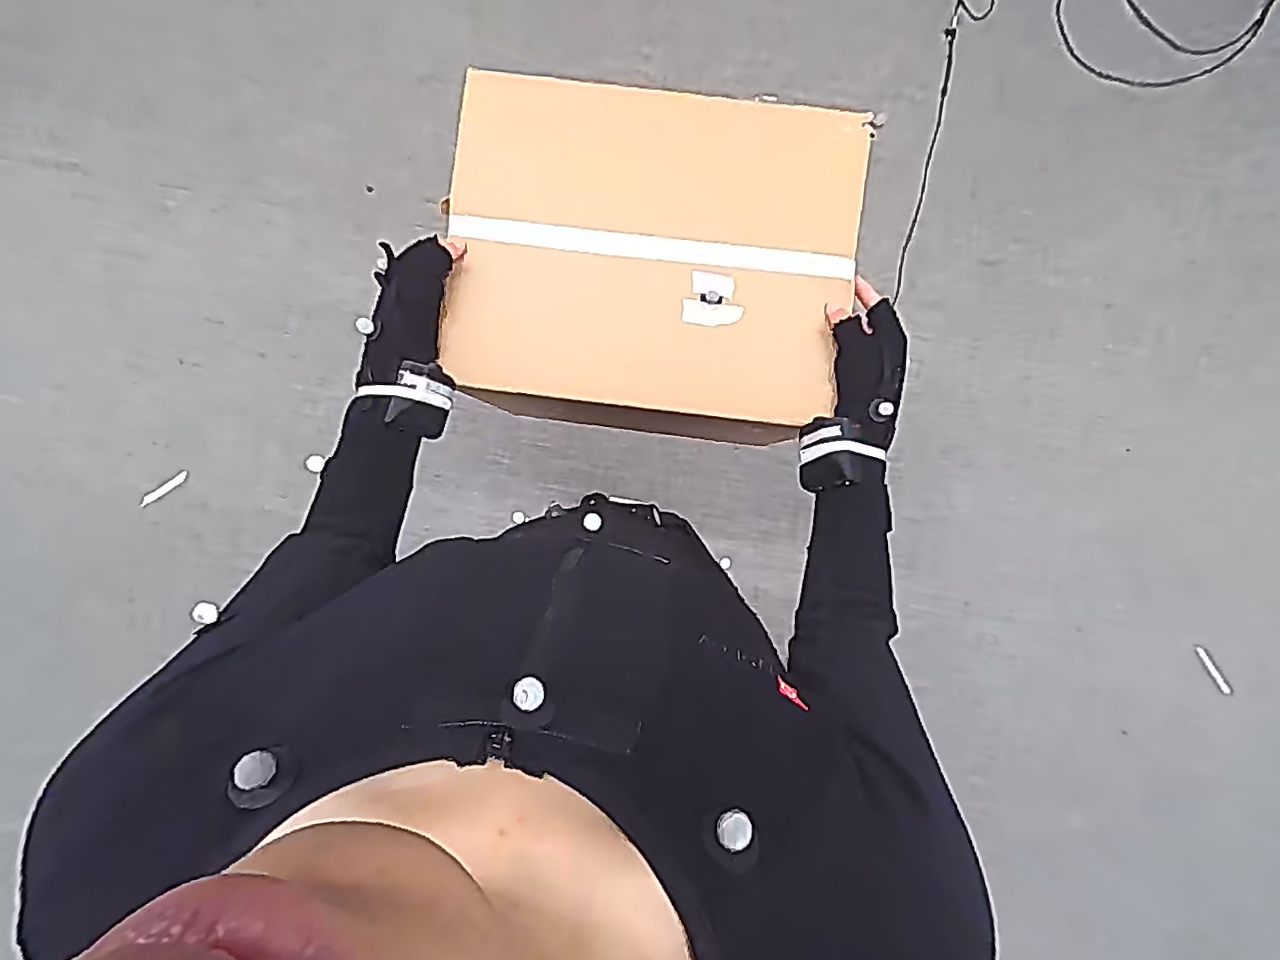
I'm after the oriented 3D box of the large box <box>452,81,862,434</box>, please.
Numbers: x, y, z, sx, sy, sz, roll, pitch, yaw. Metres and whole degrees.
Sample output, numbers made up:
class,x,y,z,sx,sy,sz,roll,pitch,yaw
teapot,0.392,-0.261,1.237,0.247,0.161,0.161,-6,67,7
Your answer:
class,x,y,z,sx,sy,sz,roll,pitch,yaw
large box,0.014,-0.242,0.704,0.408,0.320,0.320,7,92,0
